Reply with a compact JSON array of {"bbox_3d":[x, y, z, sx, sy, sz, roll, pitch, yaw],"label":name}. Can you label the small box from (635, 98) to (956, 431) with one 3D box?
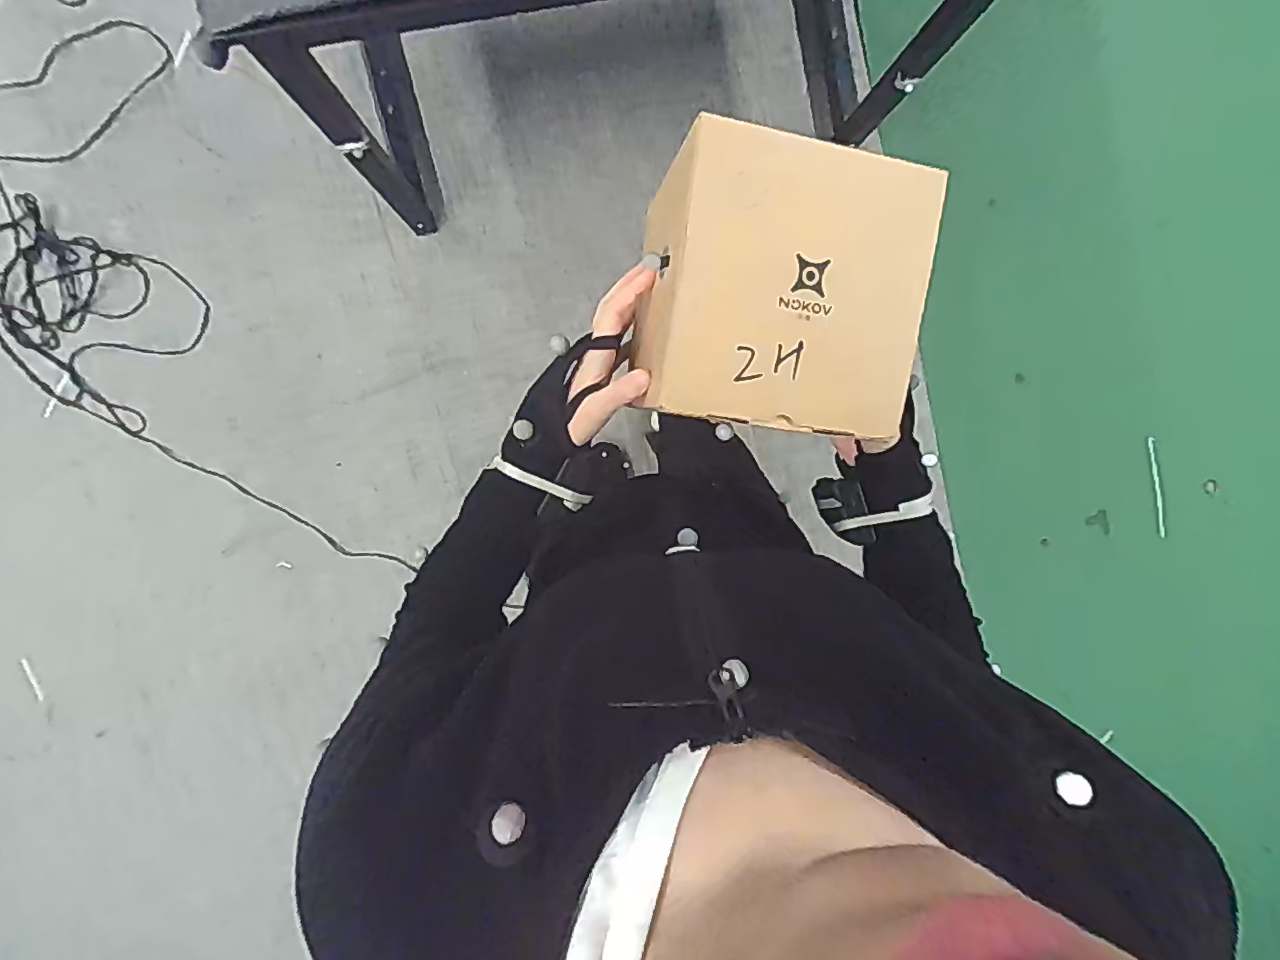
[{"bbox_3d":[0.095,-0.137,0.412,0.168,0.176,0.179,6,97,-10],"label":"small box"}]
